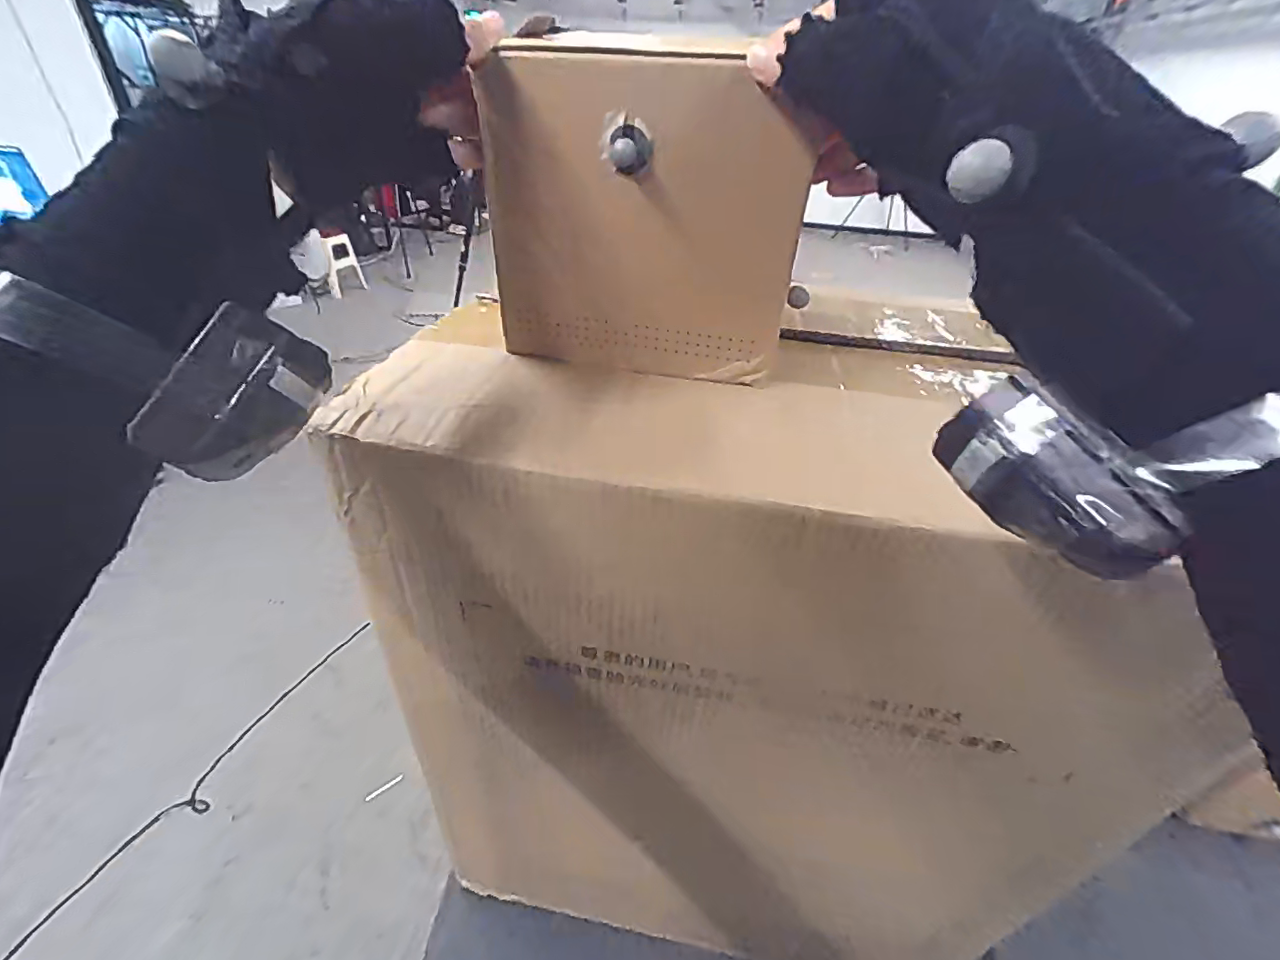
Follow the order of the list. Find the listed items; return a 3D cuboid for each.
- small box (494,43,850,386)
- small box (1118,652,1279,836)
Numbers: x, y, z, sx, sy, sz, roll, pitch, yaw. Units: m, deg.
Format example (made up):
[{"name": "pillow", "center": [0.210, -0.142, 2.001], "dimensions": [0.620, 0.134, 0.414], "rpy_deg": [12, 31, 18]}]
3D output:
[{"name": "small box", "center": [0.024, -0.181, 0.365], "dimensions": [0.179, 0.176, 0.168], "rpy_deg": [11, 42, 7]}, {"name": "small box", "center": [0.854, 0.377, 0.769], "dimensions": [0.179, 0.176, 0.168], "rpy_deg": [8, 35, 5]}]
